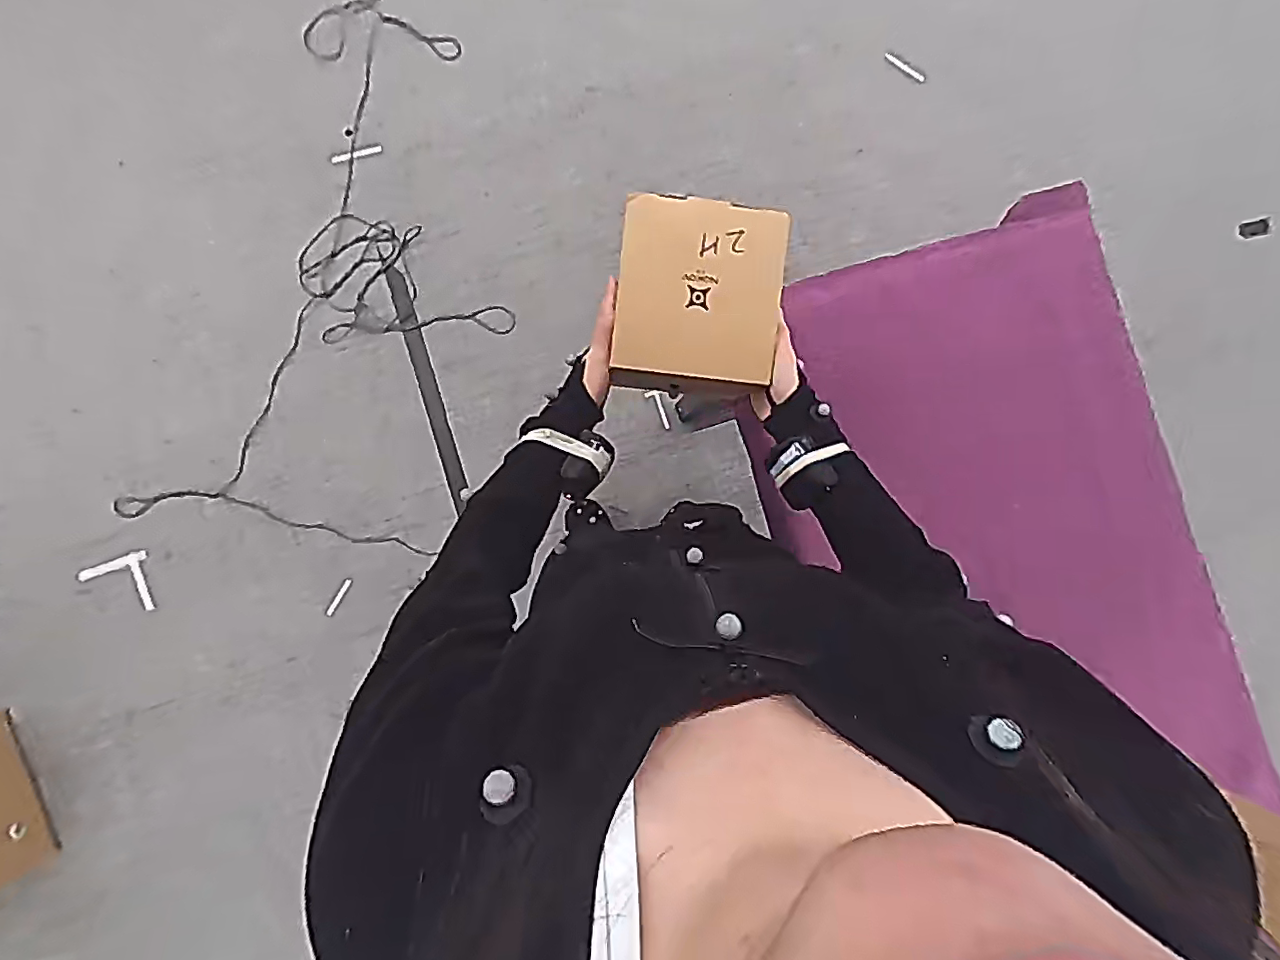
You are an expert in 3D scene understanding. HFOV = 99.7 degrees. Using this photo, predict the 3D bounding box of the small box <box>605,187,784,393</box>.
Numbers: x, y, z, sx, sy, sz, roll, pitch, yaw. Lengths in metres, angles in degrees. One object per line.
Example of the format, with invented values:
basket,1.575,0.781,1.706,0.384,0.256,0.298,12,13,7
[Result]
small box,0.050,-0.198,0.616,0.168,0.176,0.179,5,93,-4
